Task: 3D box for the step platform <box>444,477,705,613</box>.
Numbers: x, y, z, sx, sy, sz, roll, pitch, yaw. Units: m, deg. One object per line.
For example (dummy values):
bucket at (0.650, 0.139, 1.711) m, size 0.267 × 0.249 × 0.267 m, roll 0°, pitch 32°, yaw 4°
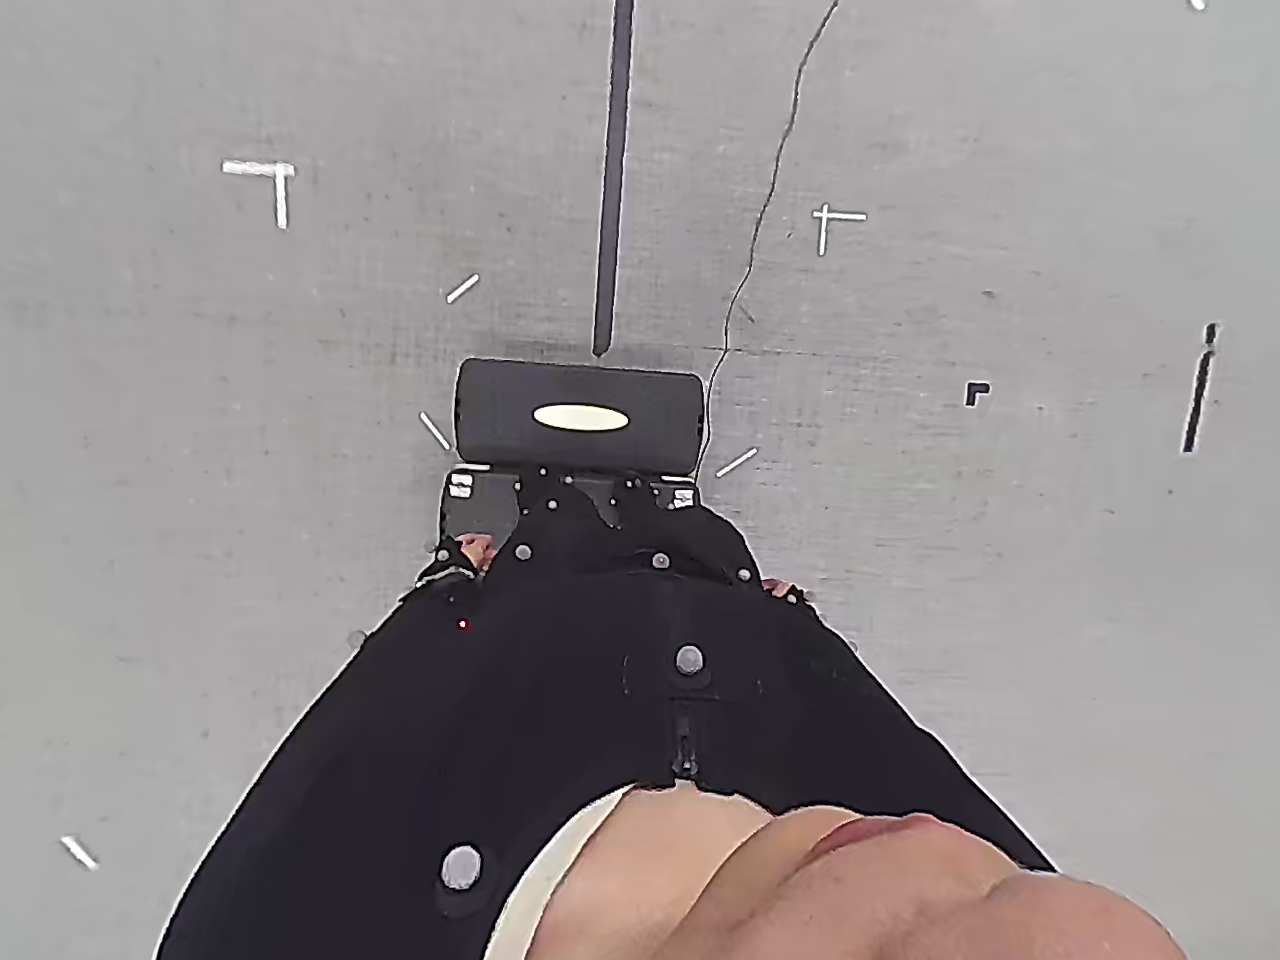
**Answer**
step platform at (-0.168, 0.172, 1.465) m, size 0.684 × 0.204 × 0.286 m, roll 7°, pitch 93°, yaw -3°
